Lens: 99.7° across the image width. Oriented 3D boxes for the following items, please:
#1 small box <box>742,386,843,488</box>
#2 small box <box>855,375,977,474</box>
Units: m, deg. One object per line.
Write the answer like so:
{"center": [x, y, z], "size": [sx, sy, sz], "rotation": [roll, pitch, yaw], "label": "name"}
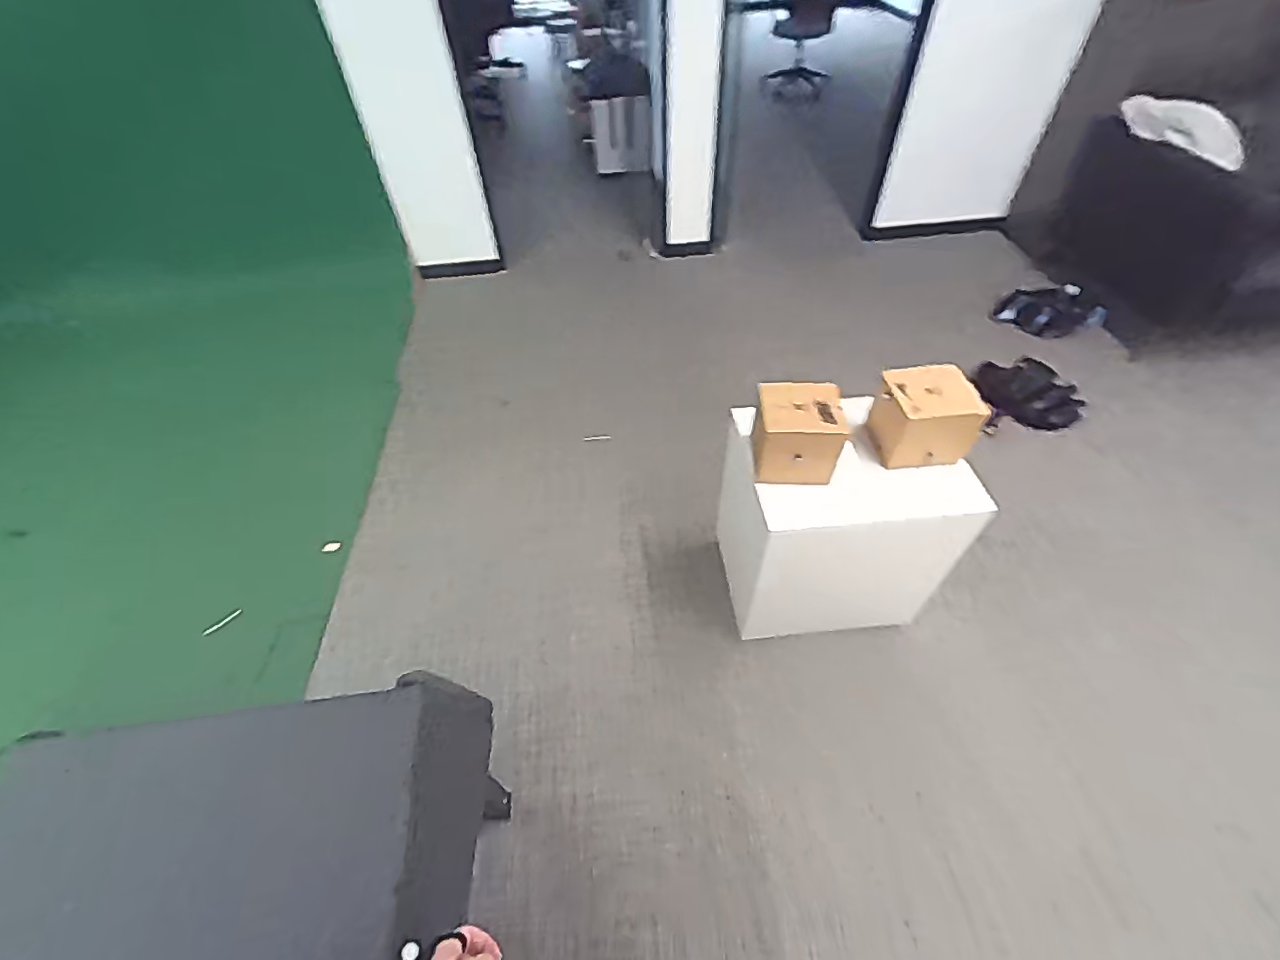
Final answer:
{"center": [0.339, -0.095, 1.239], "size": [0.179, 0.176, 0.168], "rotation": [2, 48, 1], "label": "small box"}
{"center": [0.636, -0.128, 1.270], "size": [0.179, 0.176, 0.168], "rotation": [-3, 49, -3], "label": "small box"}
